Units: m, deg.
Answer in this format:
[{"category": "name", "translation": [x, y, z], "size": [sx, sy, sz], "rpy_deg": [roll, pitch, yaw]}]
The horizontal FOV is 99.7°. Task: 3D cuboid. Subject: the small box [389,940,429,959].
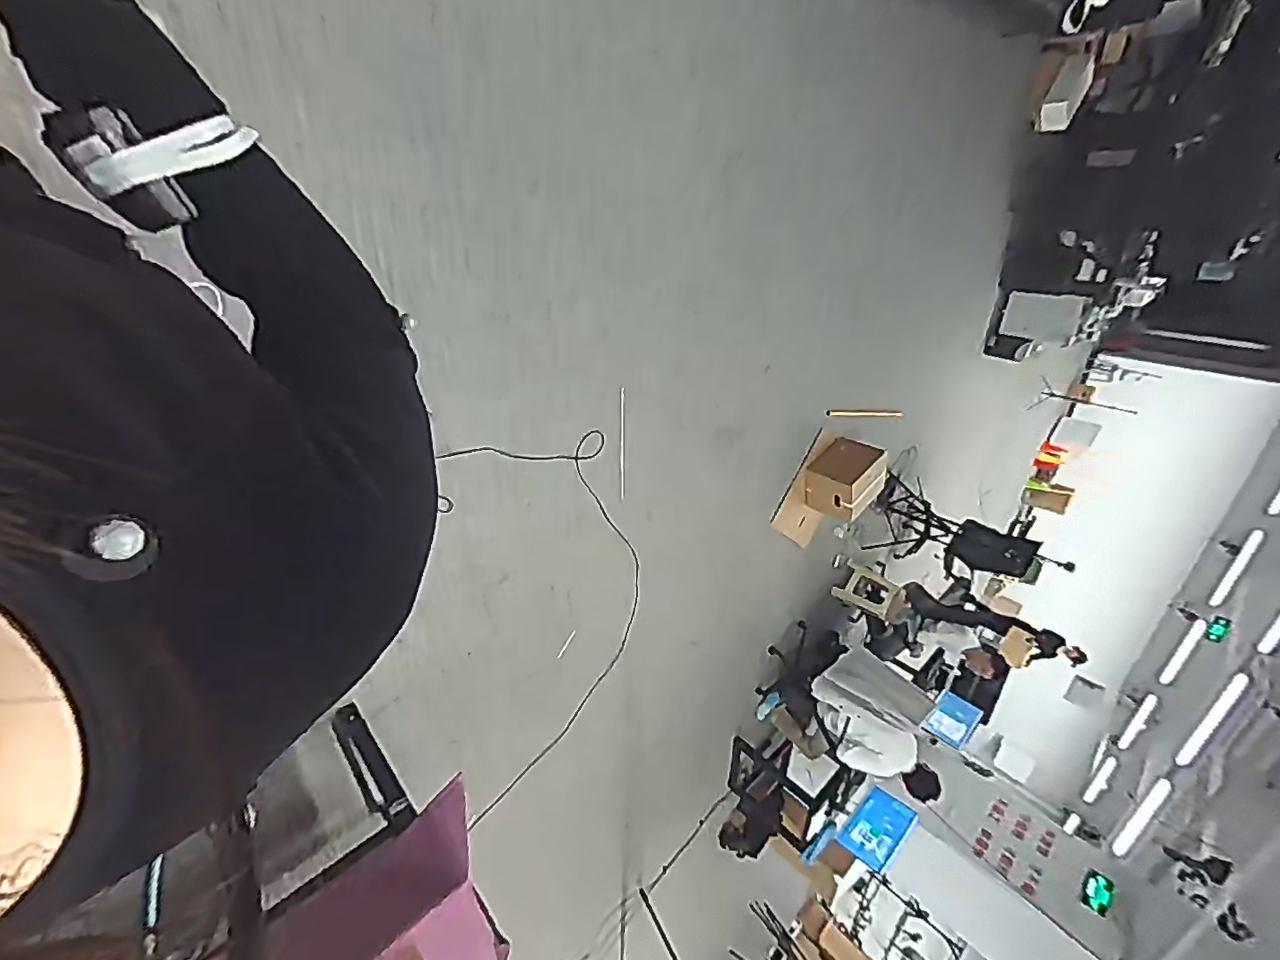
[{"category": "small box", "translation": [-0.520, 1.171, 1.182], "size": [0.168, 0.176, 0.179], "rpy_deg": [-26, 129, -35]}]
